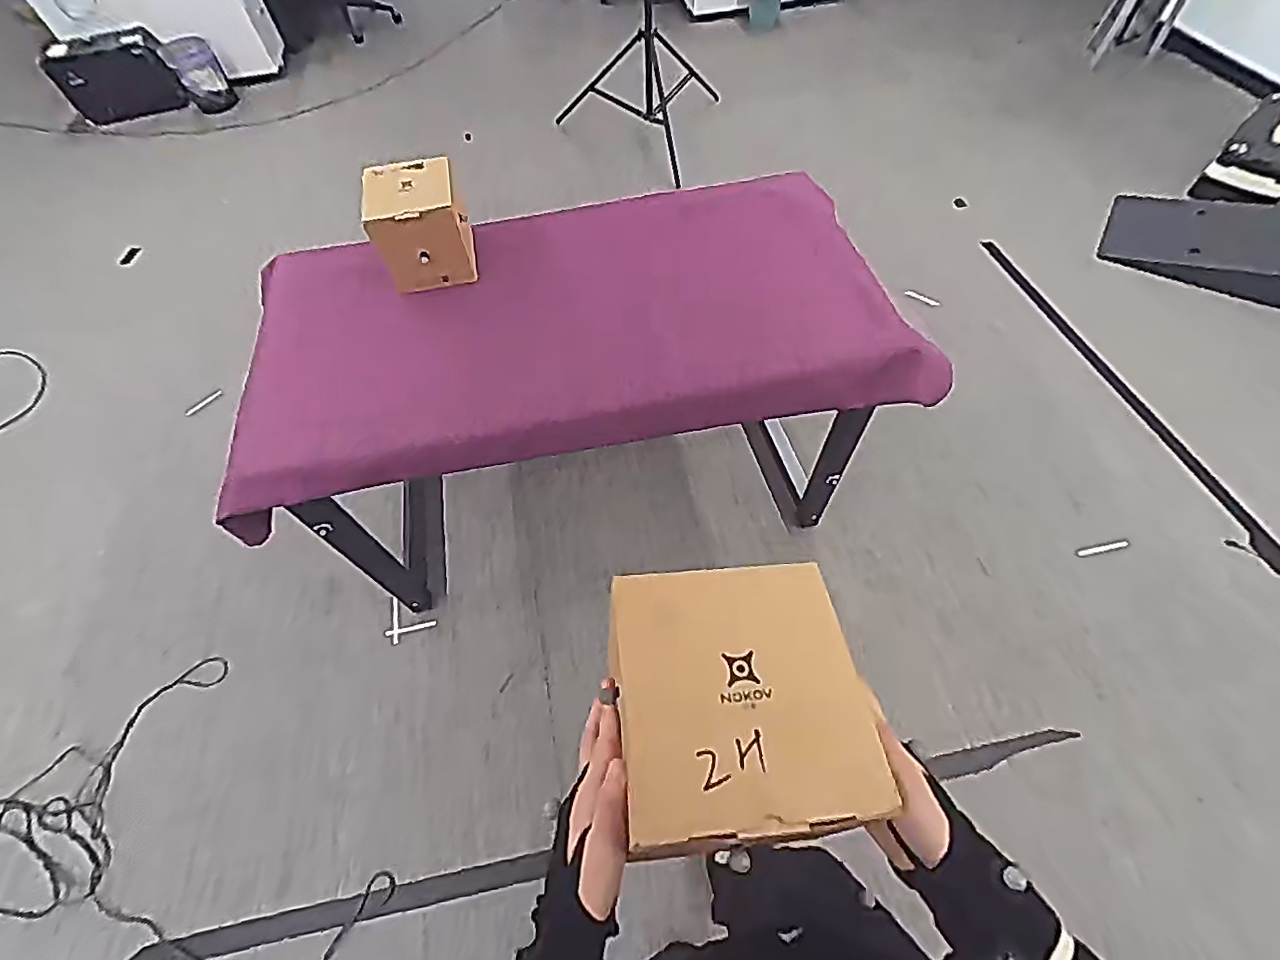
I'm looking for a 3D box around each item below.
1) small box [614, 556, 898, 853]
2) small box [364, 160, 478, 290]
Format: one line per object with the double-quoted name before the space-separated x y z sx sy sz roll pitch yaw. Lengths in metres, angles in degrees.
"small box" 0.066 0.181 0.436 0.168 0.176 0.179 -3 52 -5
"small box" -0.435 -0.505 1.093 0.168 0.176 0.179 -12 61 -5
